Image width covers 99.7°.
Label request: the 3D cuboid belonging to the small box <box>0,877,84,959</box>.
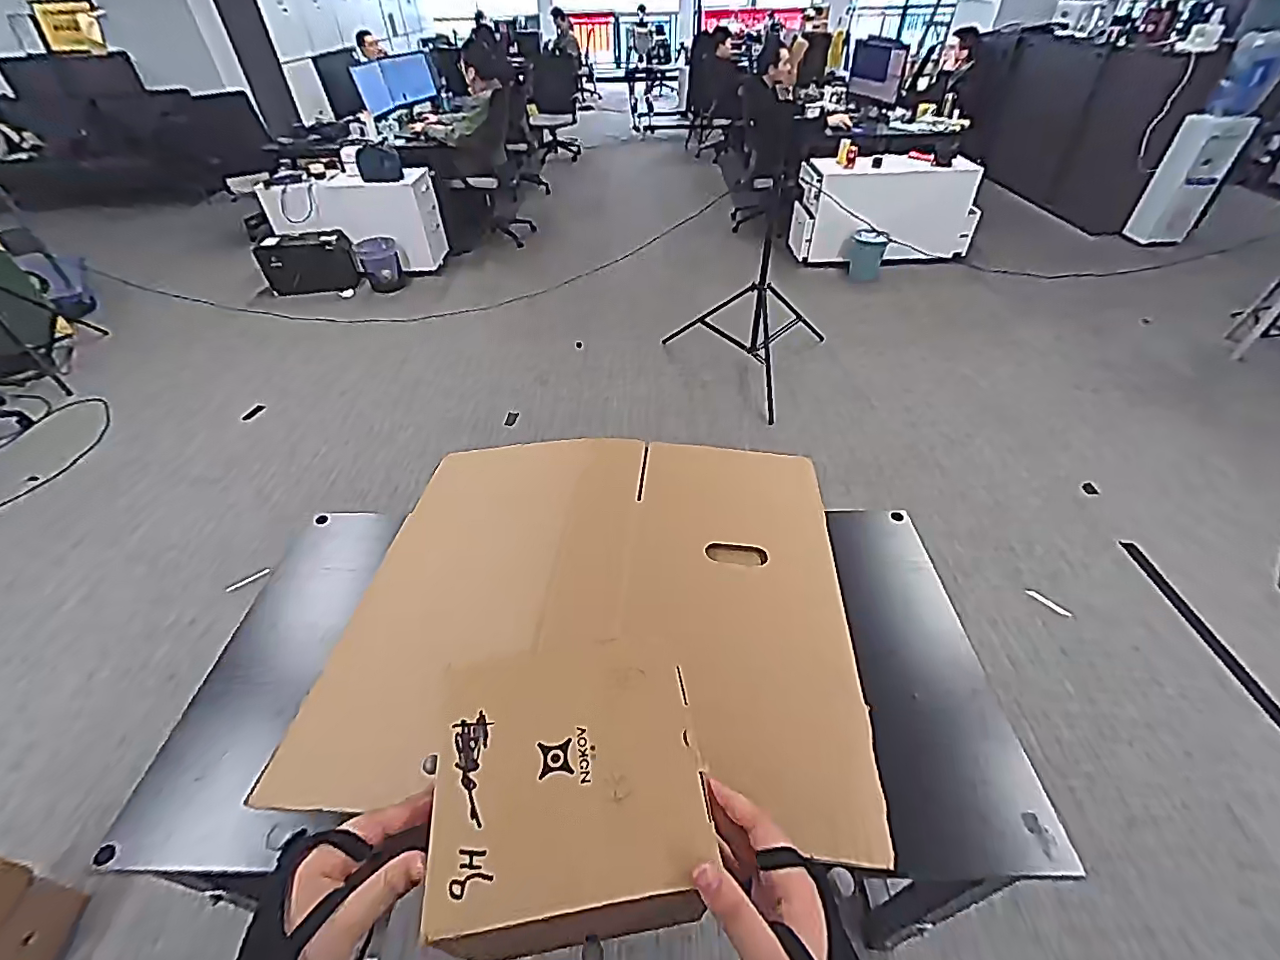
[{"bbox_3d":[-1.334,0.955,1.124,0.168,0.176,0.179,-3,43,-2],"label":"small box"}]

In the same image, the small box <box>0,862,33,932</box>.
[{"bbox_3d":[-1.338,0.831,1.019,0.168,0.176,0.179,-5,42,-4],"label":"small box"}]
